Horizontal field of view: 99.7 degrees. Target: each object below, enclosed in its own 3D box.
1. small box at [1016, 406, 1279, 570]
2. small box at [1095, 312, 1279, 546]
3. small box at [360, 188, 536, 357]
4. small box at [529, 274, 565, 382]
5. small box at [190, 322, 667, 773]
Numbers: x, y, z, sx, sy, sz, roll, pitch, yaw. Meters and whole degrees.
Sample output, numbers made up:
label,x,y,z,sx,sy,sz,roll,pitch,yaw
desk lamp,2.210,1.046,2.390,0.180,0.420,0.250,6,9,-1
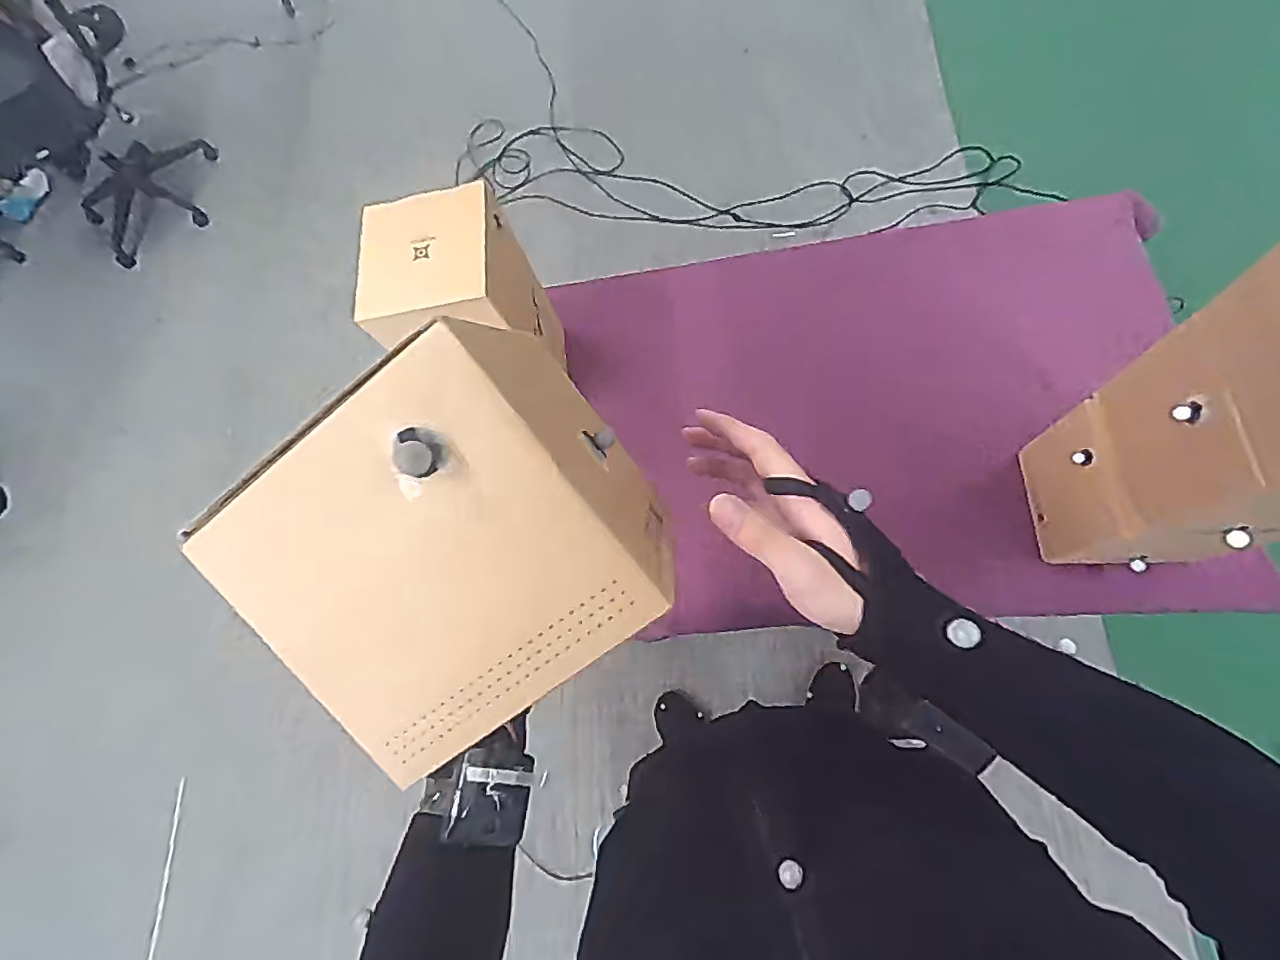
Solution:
label,x,y,z,sx,sy,sz,roll,pitch,yaw
small box,0.611,0.015,0.667,0.179,0.176,0.168,-2,70,9
small box,0.585,-0.040,0.515,0.168,0.176,0.179,-2,71,11
small box,-0.246,-0.248,0.731,0.168,0.176,0.179,-8,70,7
small box,-0.225,-0.202,0.885,0.179,0.176,0.168,-9,71,7
small box,-0.097,0.029,0.334,0.179,0.168,0.176,-37,97,9
